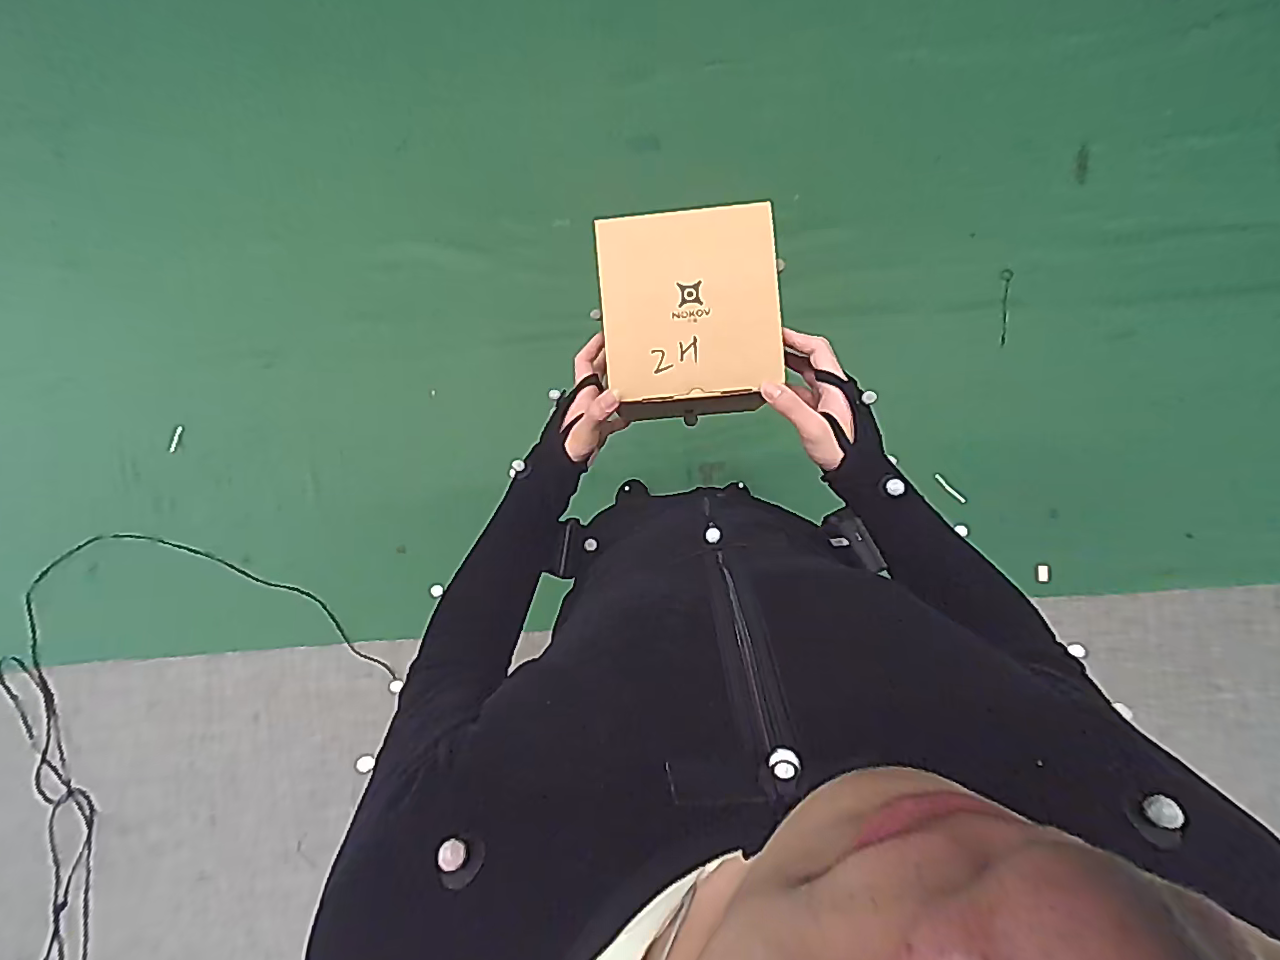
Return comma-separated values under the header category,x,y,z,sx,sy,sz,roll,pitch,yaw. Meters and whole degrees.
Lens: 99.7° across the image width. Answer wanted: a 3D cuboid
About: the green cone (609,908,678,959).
category,x,y,z,sx,sy,sz,roll,pitch,yaw
green cone,0.003,1.383,1.447,0.202,0.368,0.200,-4,90,3
